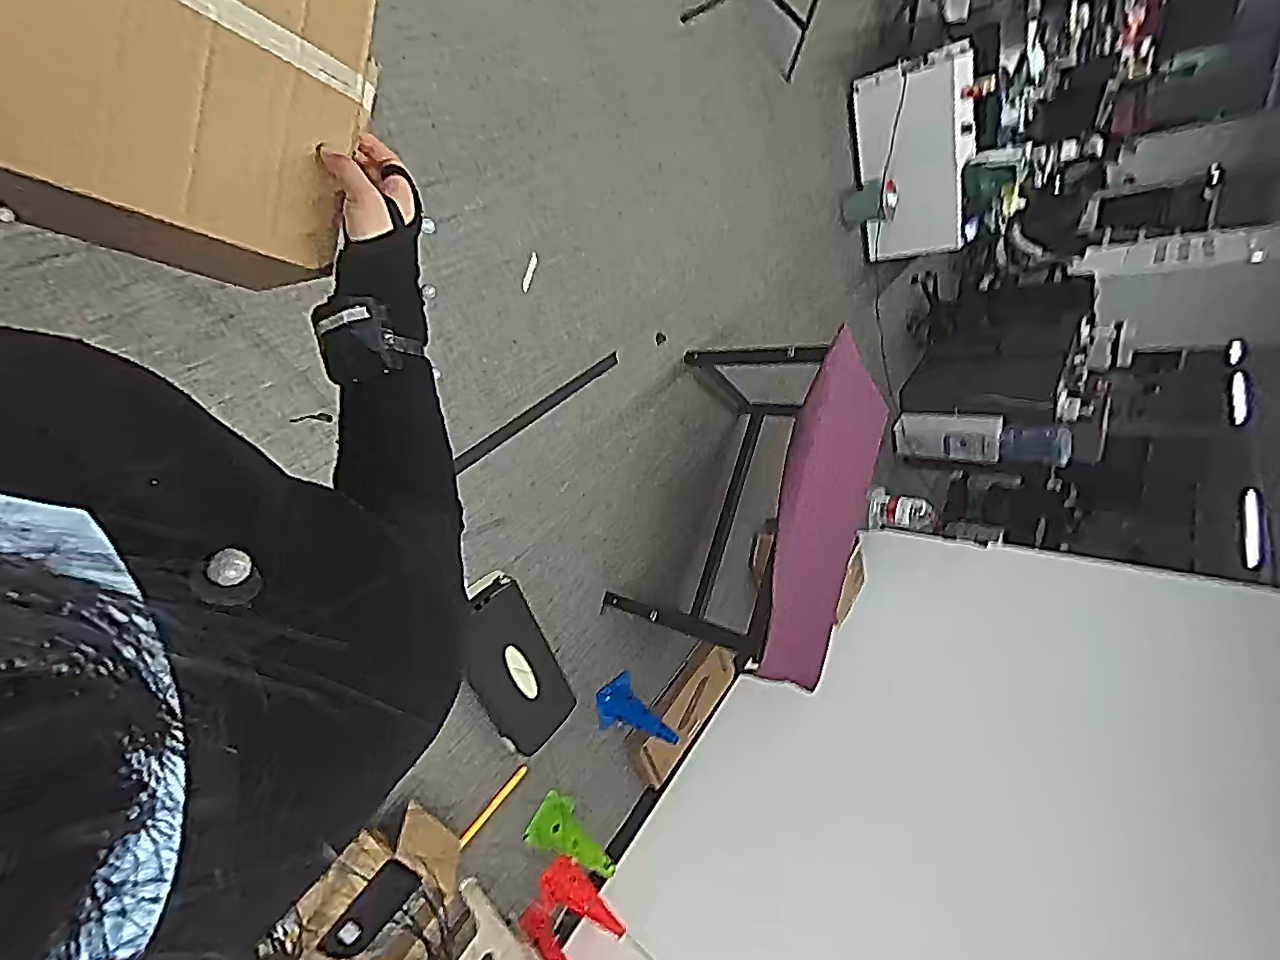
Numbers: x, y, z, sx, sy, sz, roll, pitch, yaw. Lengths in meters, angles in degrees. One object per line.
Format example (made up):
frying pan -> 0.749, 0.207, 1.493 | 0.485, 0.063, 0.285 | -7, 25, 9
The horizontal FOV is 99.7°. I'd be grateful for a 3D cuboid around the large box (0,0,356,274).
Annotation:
large box -> -0.491, -0.385, 0.426 | 0.408, 0.320, 0.320 | 7, 96, -45
